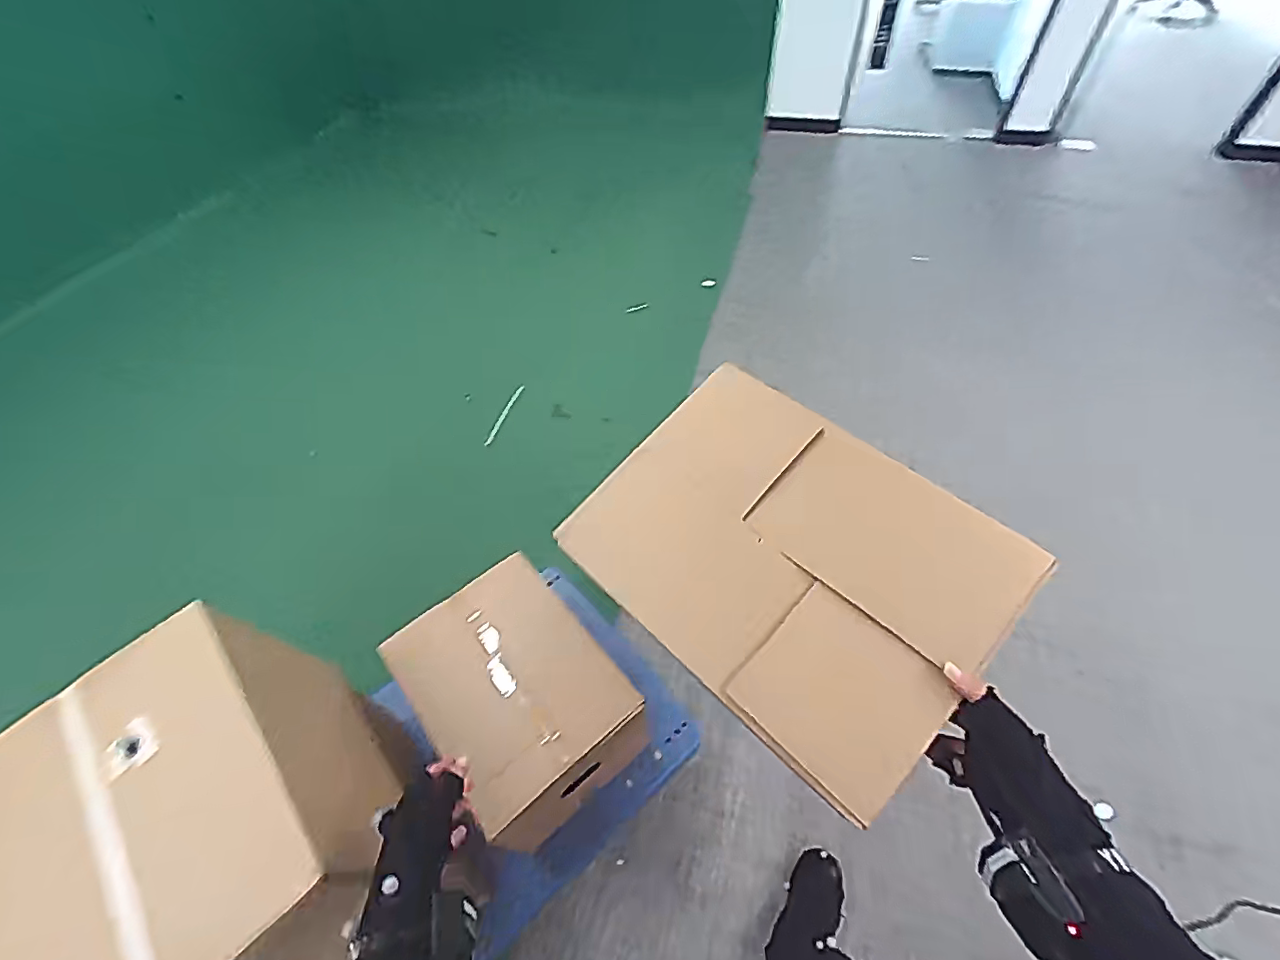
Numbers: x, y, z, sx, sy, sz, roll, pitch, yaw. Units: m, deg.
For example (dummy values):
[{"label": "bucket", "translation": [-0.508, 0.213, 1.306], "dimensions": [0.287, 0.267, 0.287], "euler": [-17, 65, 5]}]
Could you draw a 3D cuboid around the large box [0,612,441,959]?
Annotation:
[{"label": "large box", "translation": [-0.534, 0.453, 0.683], "dimensions": [0.320, 0.320, 0.408], "euler": [-40, 59, -20]}]
